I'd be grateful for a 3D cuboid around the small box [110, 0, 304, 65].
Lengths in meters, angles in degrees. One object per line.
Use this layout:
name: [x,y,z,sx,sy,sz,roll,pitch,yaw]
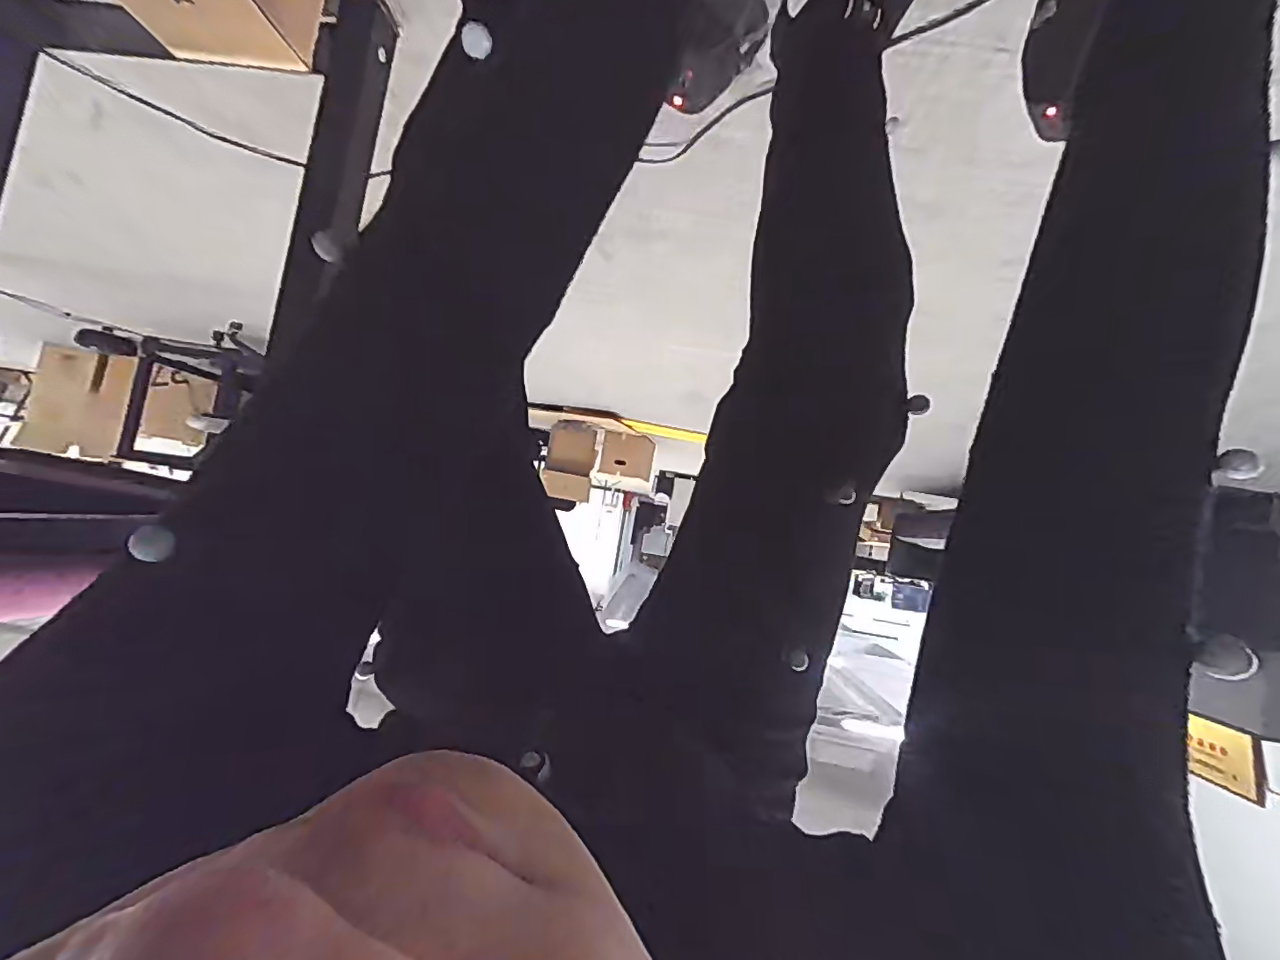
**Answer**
small box: [-0.443,-0.555,0.517,0.168,0.176,0.179,9,176,5]
